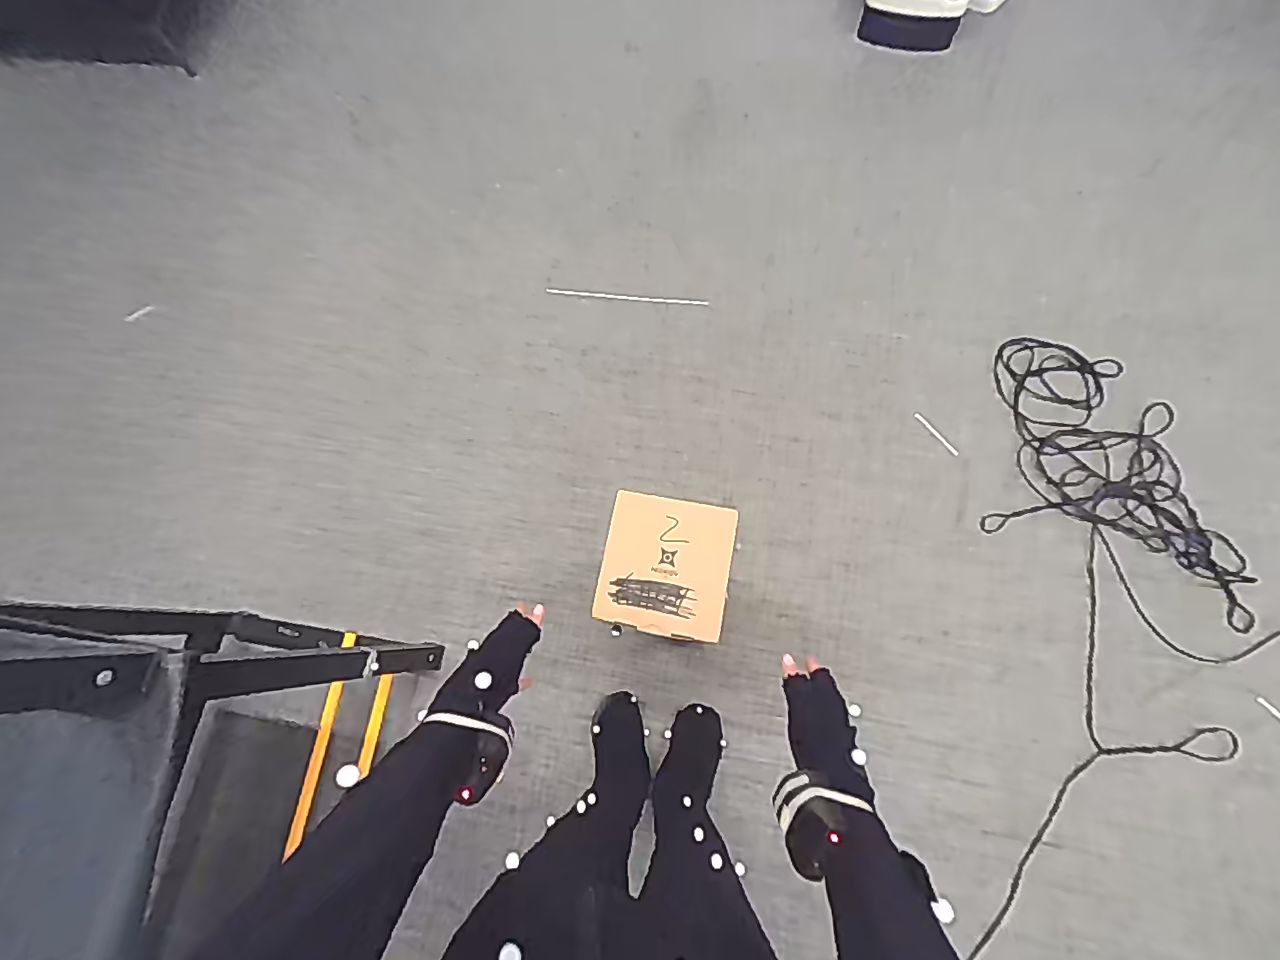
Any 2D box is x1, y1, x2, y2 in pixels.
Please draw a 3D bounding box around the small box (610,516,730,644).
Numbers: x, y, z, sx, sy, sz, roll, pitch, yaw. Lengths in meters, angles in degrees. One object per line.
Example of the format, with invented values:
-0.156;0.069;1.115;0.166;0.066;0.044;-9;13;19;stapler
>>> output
0.057;0.177;0.939;0.168;0.176;0.179;11;75;8;small box
